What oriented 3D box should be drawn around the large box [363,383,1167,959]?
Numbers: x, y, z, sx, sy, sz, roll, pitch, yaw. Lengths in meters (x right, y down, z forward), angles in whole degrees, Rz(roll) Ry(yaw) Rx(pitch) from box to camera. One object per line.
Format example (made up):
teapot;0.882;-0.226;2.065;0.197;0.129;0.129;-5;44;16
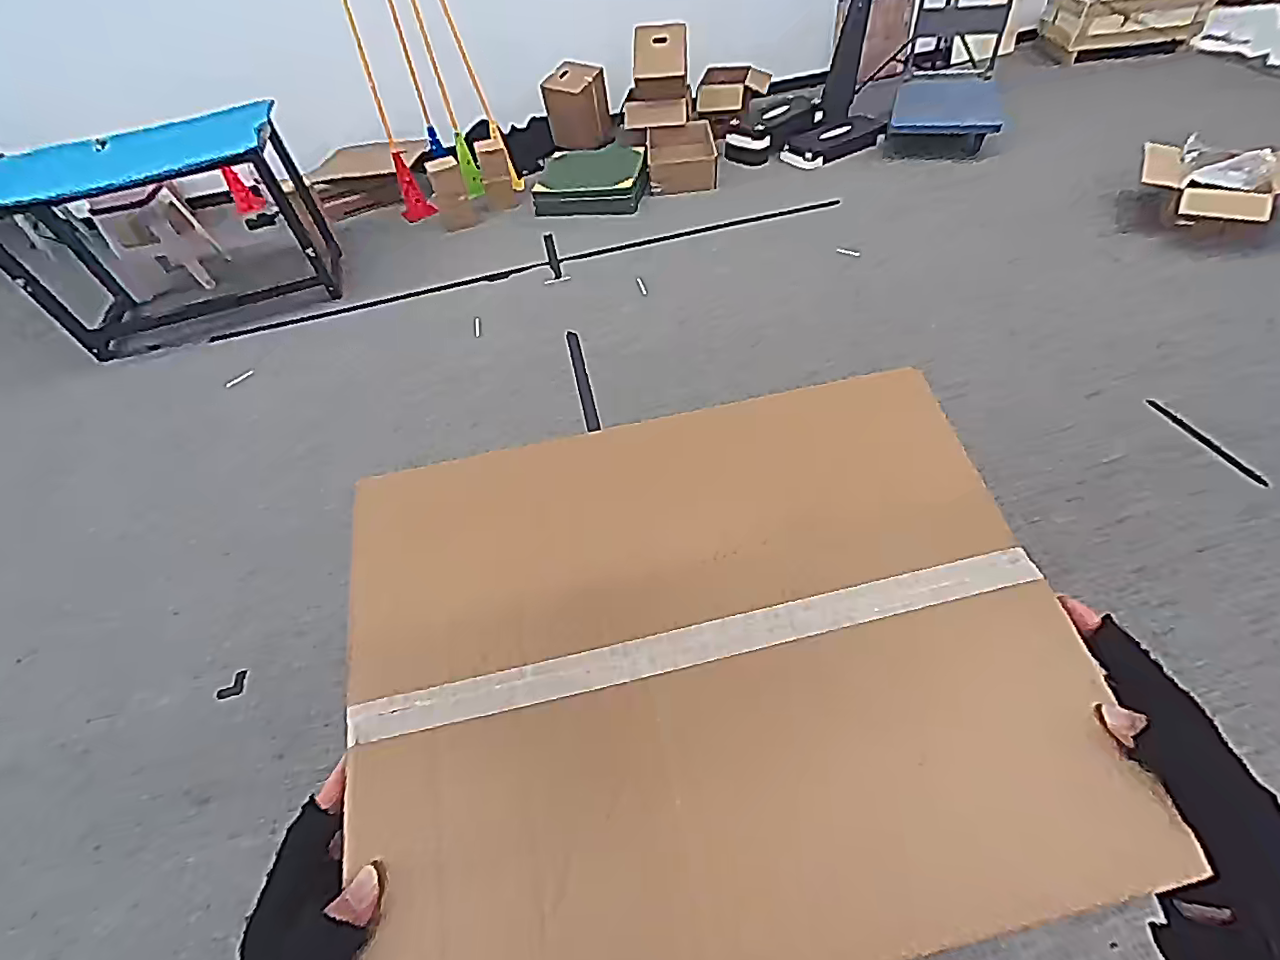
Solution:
large box;0.046;0.169;0.452;0.408;0.320;0.320;-13;62;-3
